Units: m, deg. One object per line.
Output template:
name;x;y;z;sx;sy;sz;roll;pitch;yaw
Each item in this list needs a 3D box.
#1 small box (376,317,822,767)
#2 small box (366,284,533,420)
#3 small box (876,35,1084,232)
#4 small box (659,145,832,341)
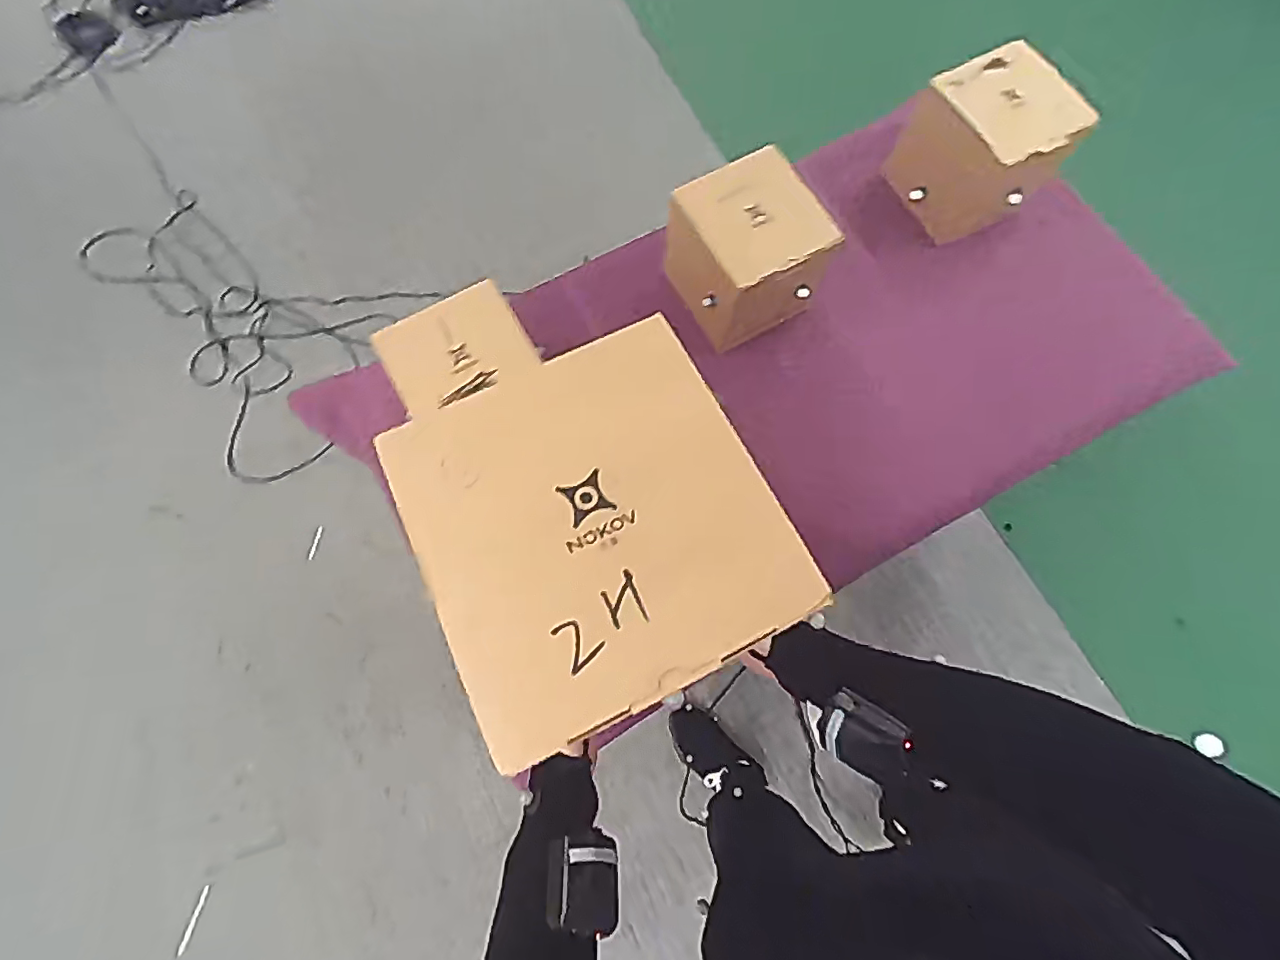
small box;-0.024;0.041;0.336;0.168;0.176;0.179;-26;73;-7
small box;-0.222;-0.116;0.727;0.168;0.176;0.179;-31;76;-8
small box;0.507;-0.518;0.836;0.168;0.176;0.179;-28;77;-7
small box;0.140;-0.327;0.787;0.168;0.176;0.179;-29;77;-8
